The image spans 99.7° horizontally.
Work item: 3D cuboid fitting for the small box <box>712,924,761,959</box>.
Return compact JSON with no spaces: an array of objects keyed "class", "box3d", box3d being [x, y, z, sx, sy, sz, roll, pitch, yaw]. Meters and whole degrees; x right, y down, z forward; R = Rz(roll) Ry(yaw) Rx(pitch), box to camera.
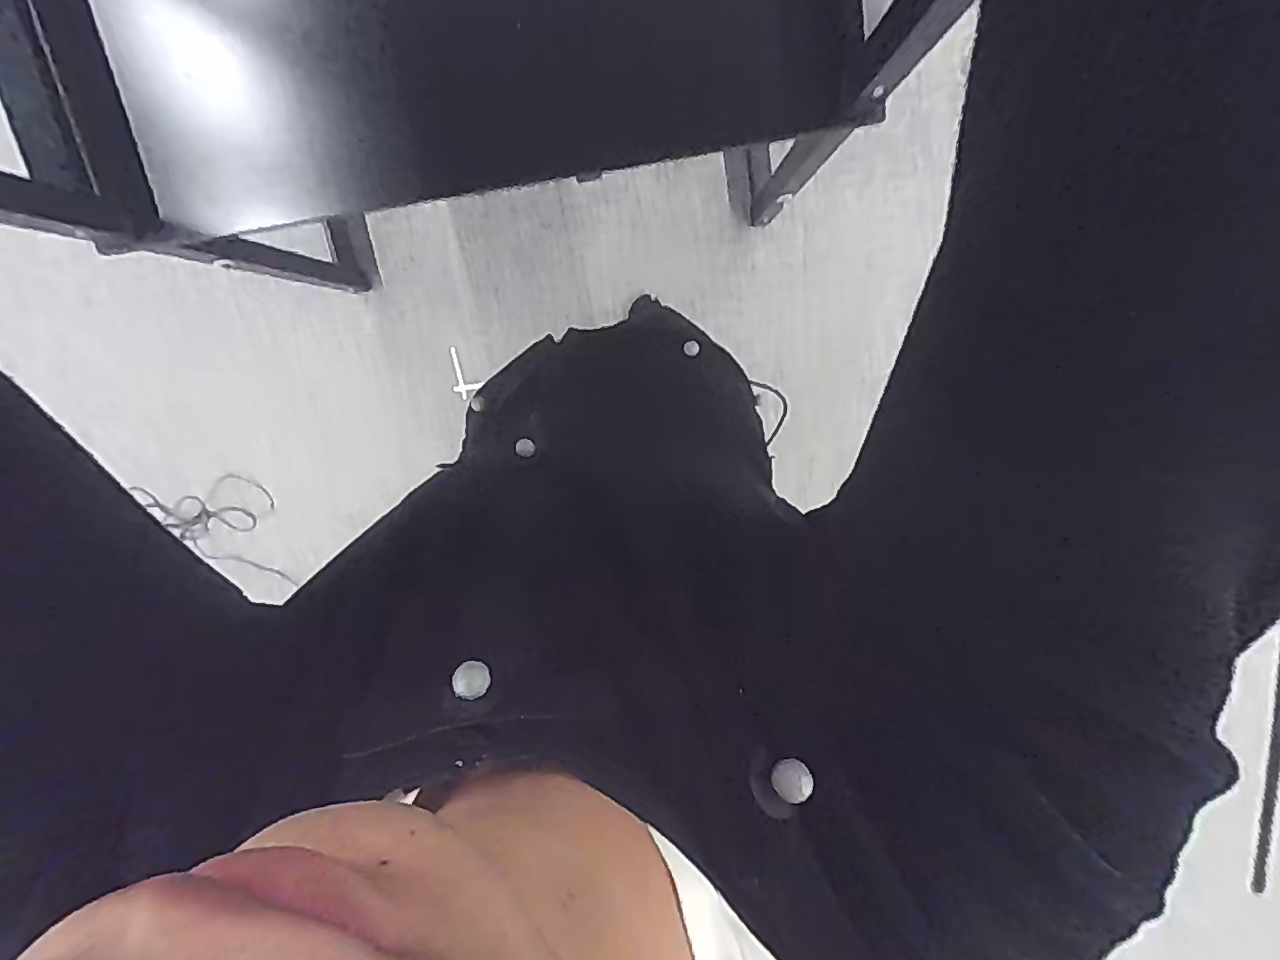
[{"class":"small box","box3d":[0.361,1.784,1.981,0.168,0.176,0.179,-7,102,2]}]
